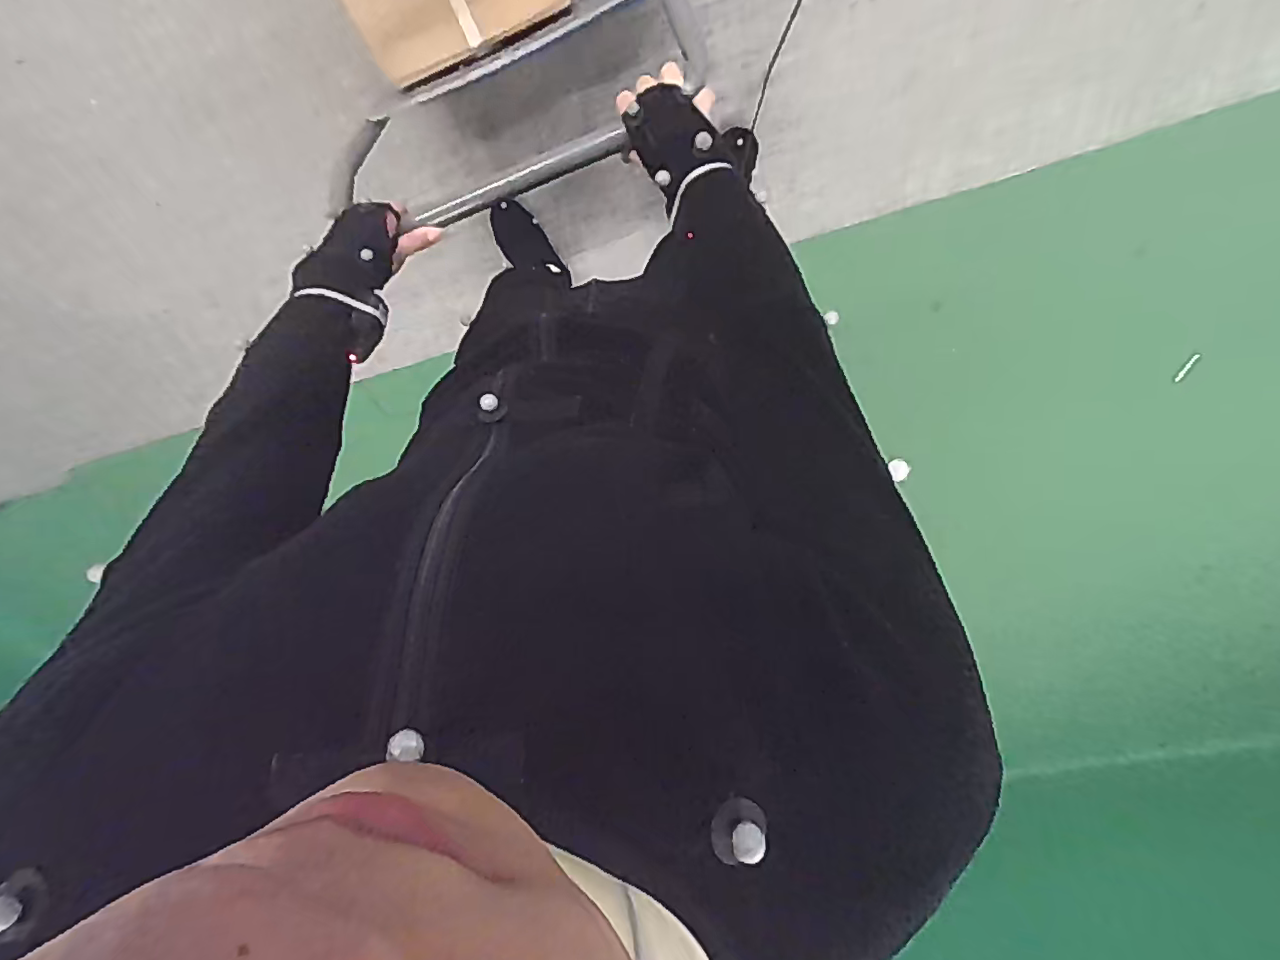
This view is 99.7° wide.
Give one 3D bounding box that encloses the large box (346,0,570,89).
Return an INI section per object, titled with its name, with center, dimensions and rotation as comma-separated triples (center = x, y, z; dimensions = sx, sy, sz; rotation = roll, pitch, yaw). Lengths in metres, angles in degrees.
[large box]
center = -0.316, -0.893, 0.794
dimensions = 0.320, 0.320, 0.408
rotation = -17, 135, 12
